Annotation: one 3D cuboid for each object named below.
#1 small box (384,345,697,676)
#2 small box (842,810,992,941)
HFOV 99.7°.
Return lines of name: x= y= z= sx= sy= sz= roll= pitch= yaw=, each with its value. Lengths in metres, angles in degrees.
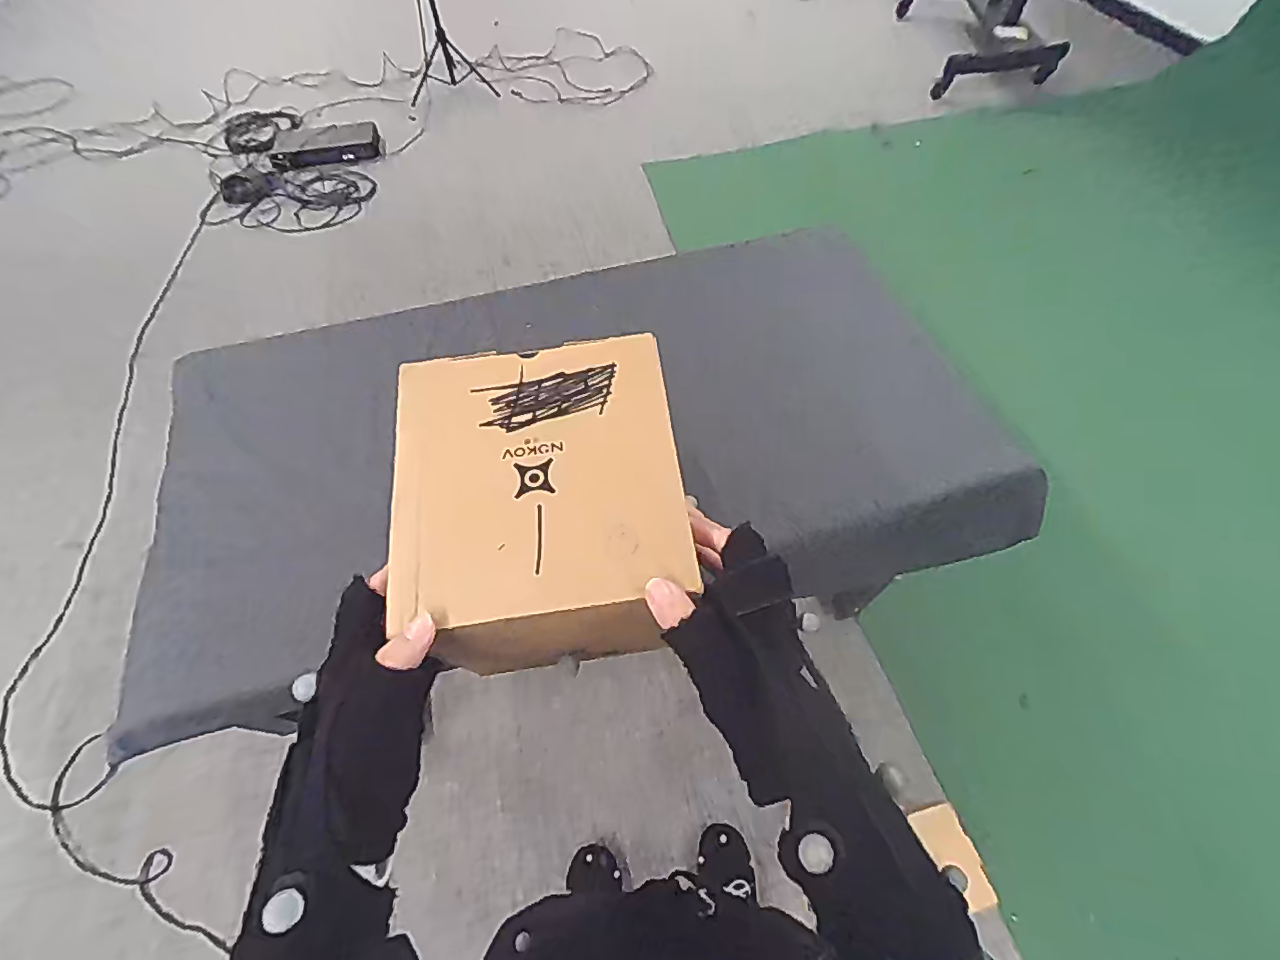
small box: x=-0.058 y=0.031 z=0.388 sx=0.168 sy=0.176 sz=0.179 roll=-7 pitch=64 yaw=-2
small box: x=0.529 y=0.764 z=1.063 sx=0.179 sy=0.176 sz=0.168 roll=-14 pitch=58 yaw=-6
